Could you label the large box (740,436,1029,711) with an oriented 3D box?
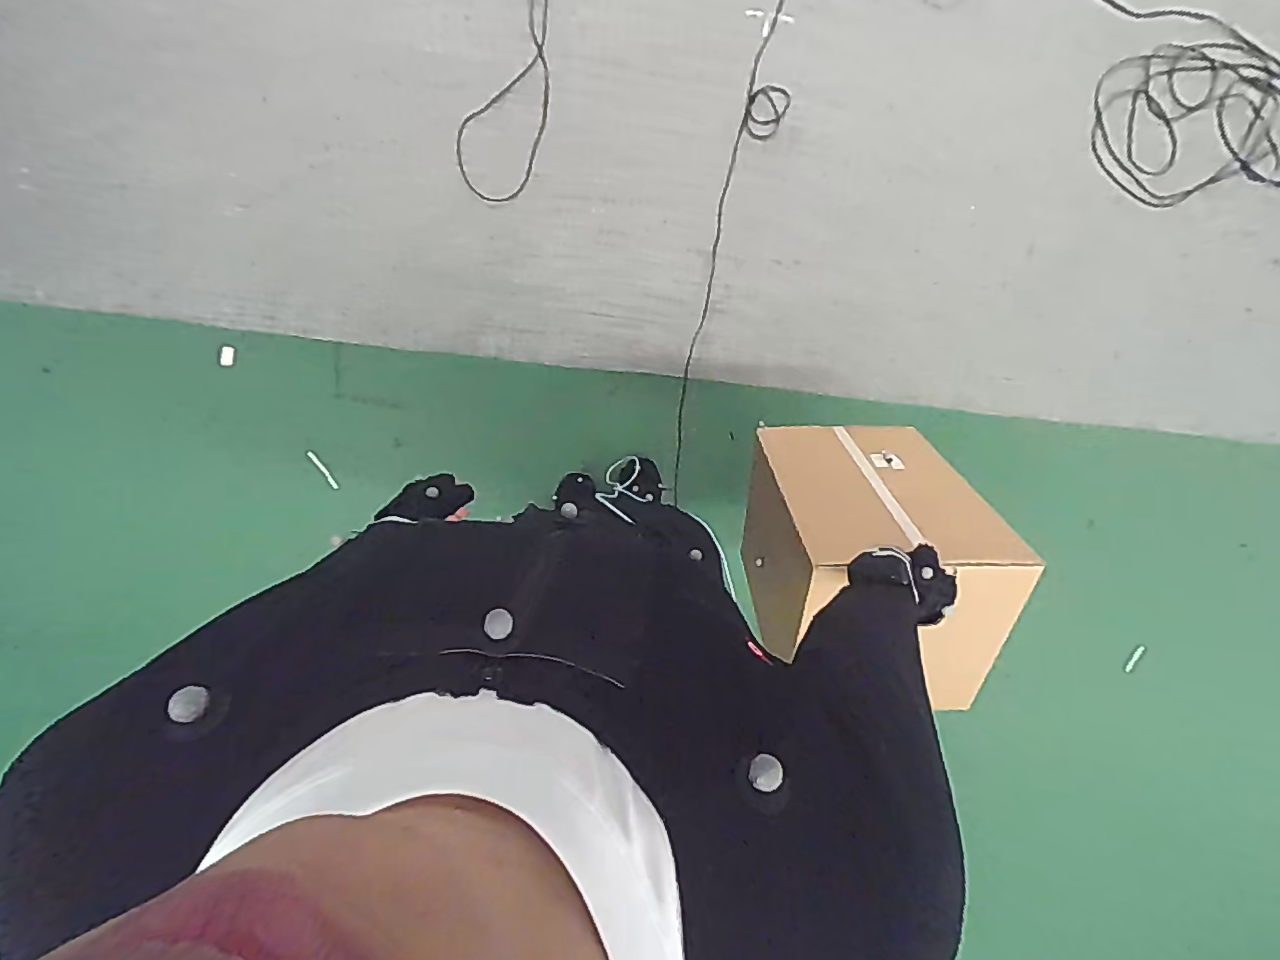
[{"bbox_3d":[0.378,0.150,0.979,0.320,0.408,0.320,1,122,-1],"label":"large box"}]
